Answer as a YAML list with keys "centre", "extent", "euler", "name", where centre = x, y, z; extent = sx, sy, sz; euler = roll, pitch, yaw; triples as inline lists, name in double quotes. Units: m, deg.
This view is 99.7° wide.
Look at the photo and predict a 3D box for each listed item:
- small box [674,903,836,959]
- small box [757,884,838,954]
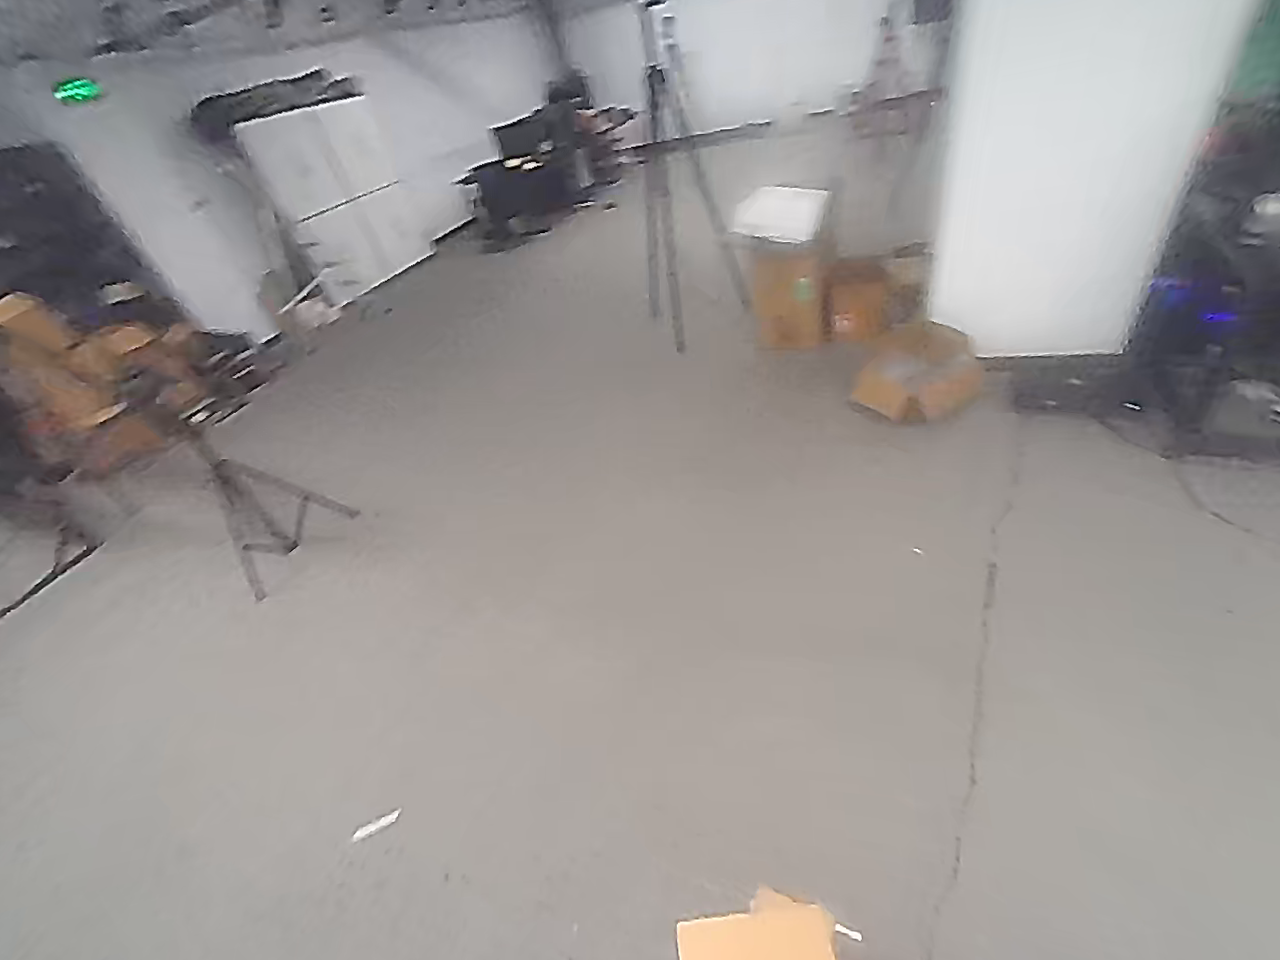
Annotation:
- centre: [0.142, 0.617, 0.623]
  extent: [0.179, 0.176, 0.168]
  euler: [-8, 42, 0]
  name: "small box"
- centre: [0.332, 1.035, 1.178]
  extent: [0.168, 0.176, 0.179]
  euler: [5, 43, 26]
  name: "small box"
